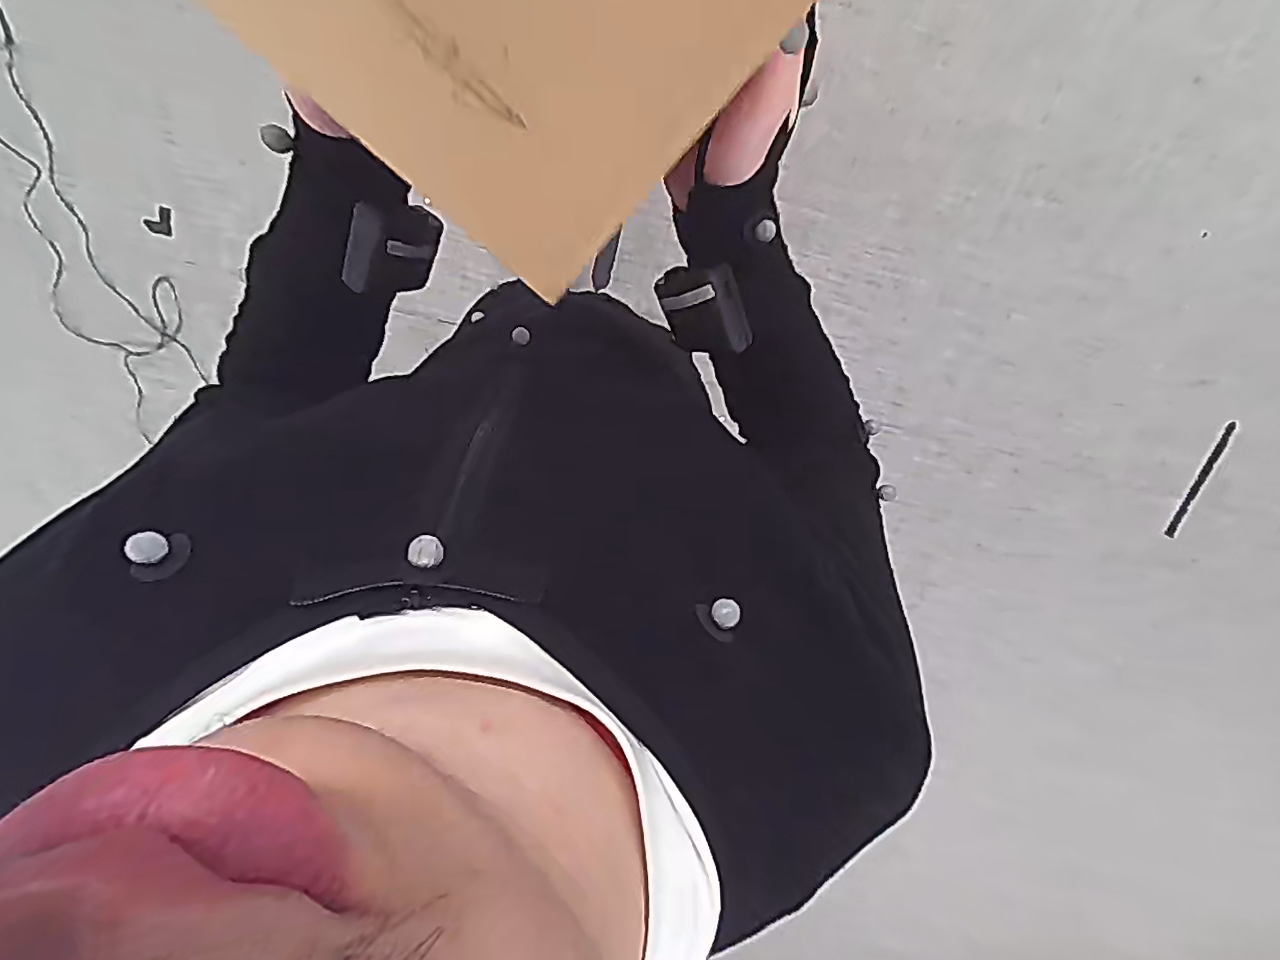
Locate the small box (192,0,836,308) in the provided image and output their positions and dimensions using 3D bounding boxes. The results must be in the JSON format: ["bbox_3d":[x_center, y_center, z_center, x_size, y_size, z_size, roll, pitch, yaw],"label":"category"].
[{"bbox_3d":[-0.032,-0.218,0.229,0.168,0.176,0.179,37,125,-23],"label":"small box"}]
